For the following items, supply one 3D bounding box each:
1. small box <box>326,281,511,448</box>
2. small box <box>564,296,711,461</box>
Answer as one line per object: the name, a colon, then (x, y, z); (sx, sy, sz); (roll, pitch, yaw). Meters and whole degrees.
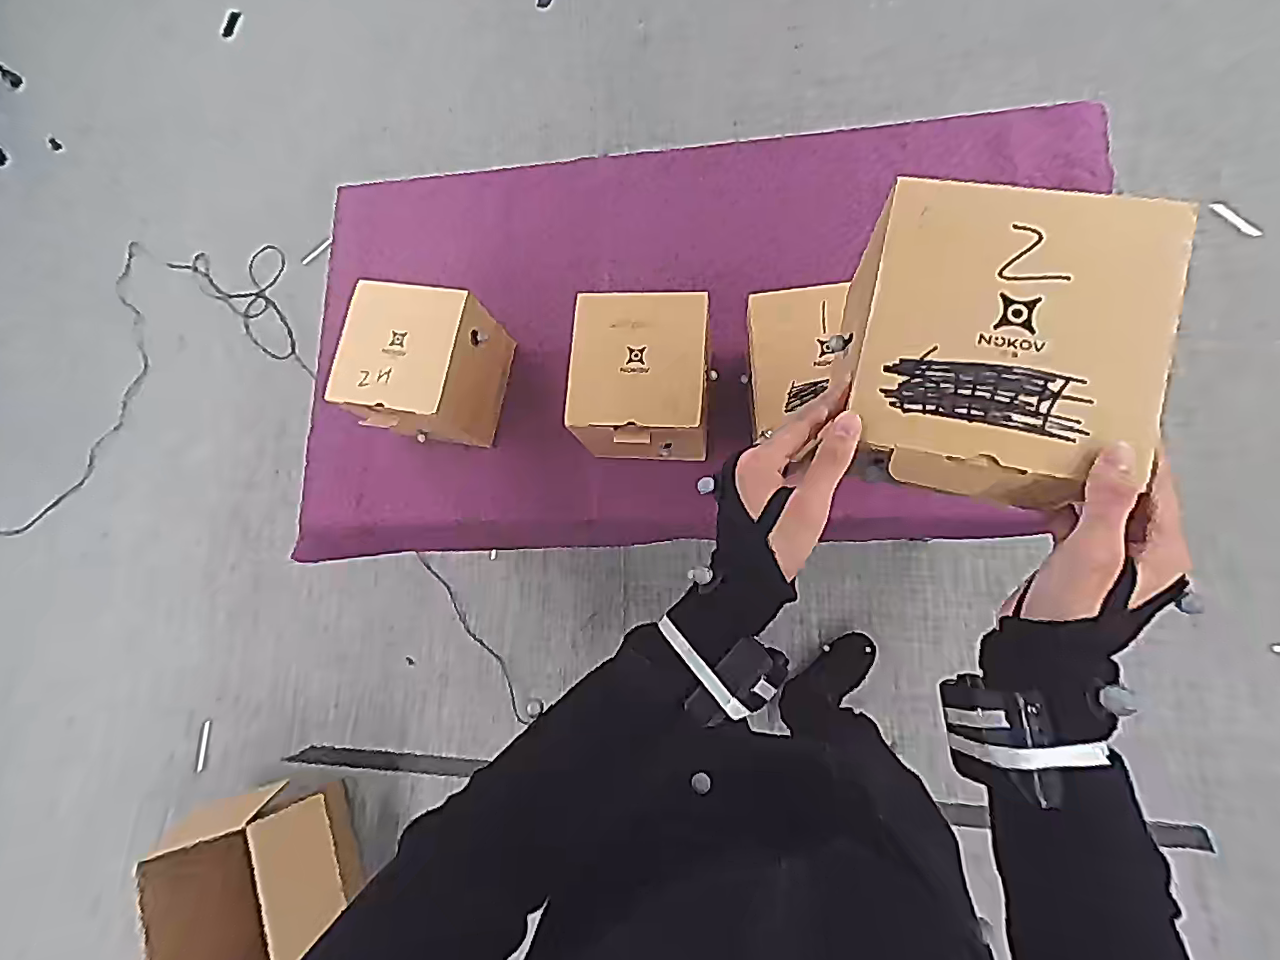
small box: (-0.304, -0.158, 0.782); (0.168, 0.176, 0.179); (9, 82, 11)
small box: (0.008, -0.127, 0.729); (0.168, 0.176, 0.179); (3, 80, 9)
